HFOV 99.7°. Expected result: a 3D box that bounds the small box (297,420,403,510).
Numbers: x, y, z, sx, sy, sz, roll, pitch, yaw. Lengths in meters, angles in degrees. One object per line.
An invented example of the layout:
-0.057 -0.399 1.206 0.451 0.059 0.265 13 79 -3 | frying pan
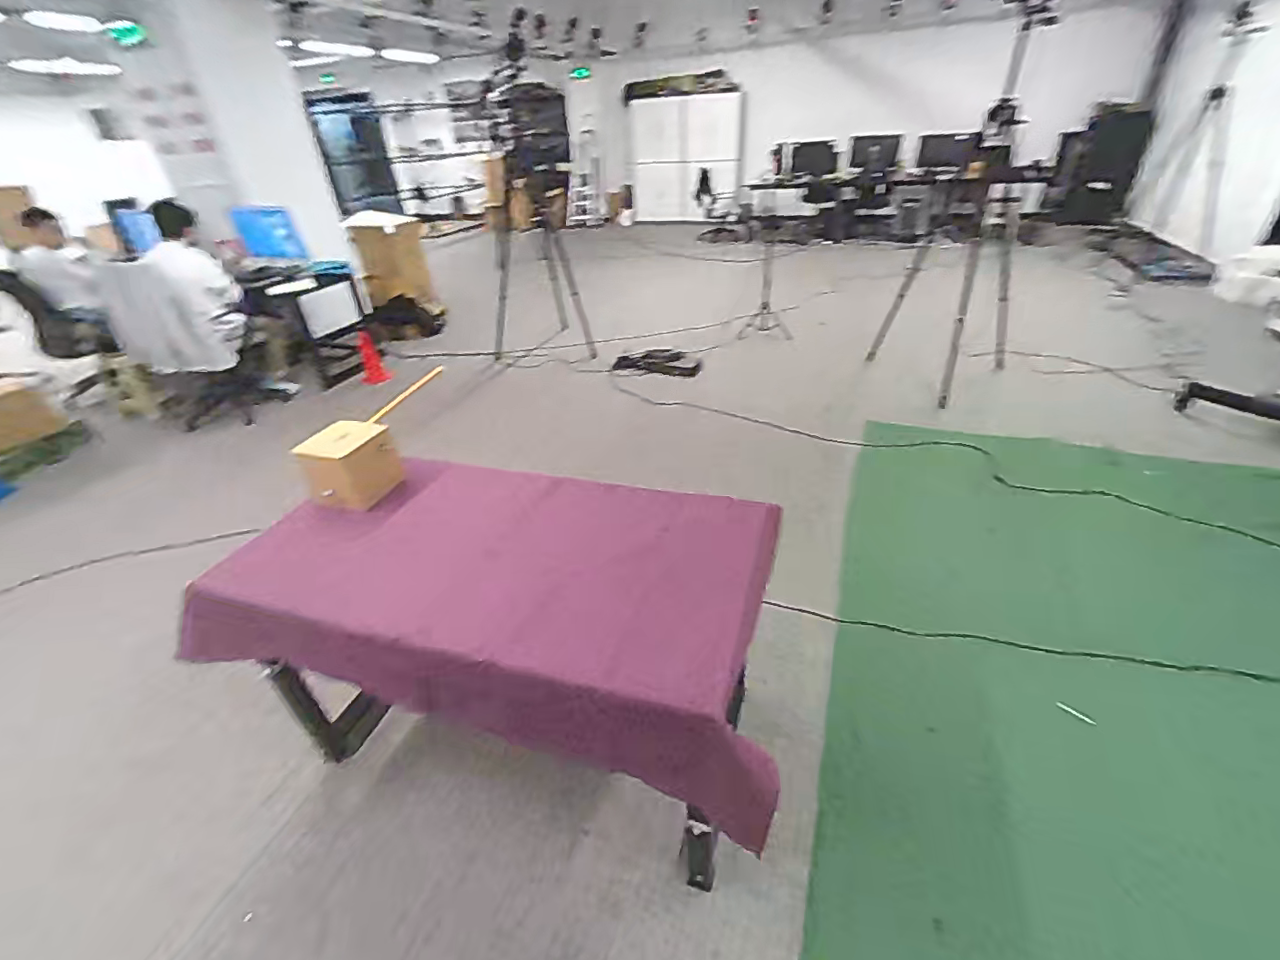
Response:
-0.771 -0.044 1.465 0.168 0.176 0.179 8 35 17 | small box
